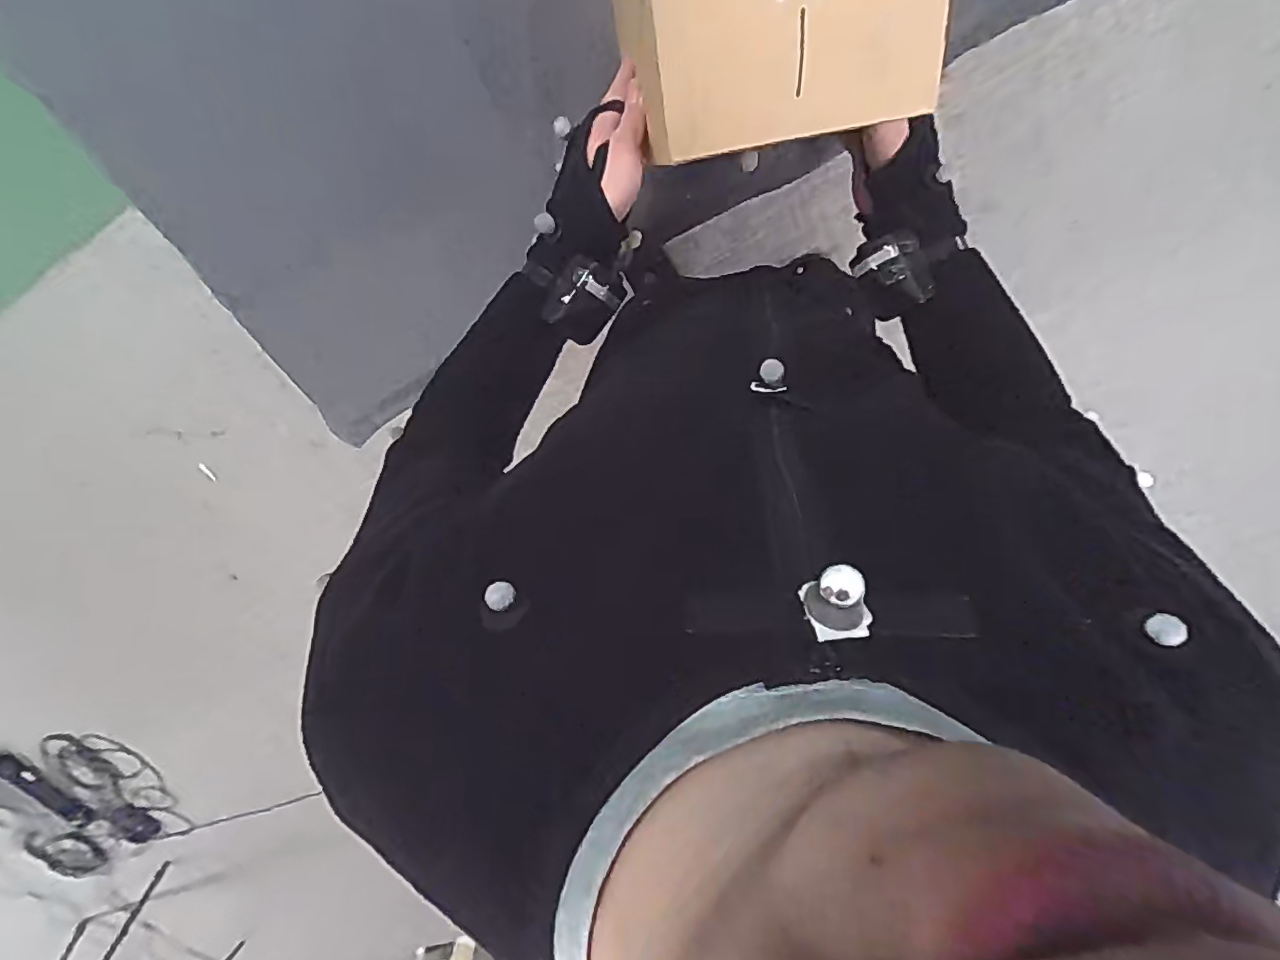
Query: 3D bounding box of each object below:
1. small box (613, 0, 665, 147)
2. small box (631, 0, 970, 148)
[{"bbox_3d":[0.066,-0.404,0.473,0.168,0.176,0.179,-10,119,1],"label":"small box"},{"bbox_3d":[0.080,-0.319,0.332,0.168,0.176,0.179,-10,121,1],"label":"small box"}]
